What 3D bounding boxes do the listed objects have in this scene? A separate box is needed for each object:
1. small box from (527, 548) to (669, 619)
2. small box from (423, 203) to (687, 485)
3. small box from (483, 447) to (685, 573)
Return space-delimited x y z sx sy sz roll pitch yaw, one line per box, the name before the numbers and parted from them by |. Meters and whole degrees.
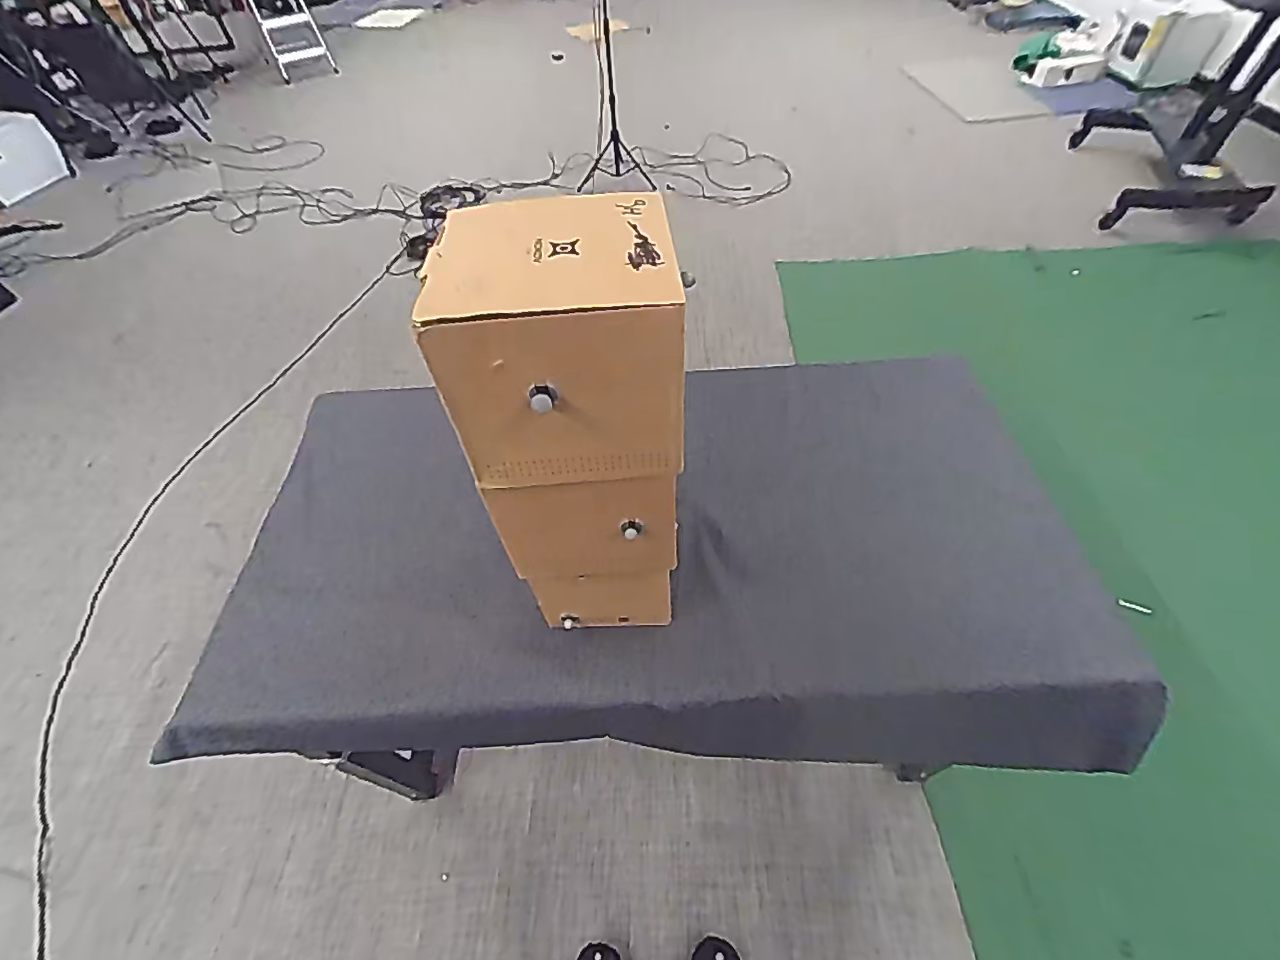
small box | -0.046 0.076 0.724 0.168 0.176 0.179 -2 51 2
small box | -0.058 -0.110 0.461 0.179 0.176 0.168 -6 49 -3
small box | -0.053 -0.018 0.573 0.179 0.176 0.168 -6 51 -2
